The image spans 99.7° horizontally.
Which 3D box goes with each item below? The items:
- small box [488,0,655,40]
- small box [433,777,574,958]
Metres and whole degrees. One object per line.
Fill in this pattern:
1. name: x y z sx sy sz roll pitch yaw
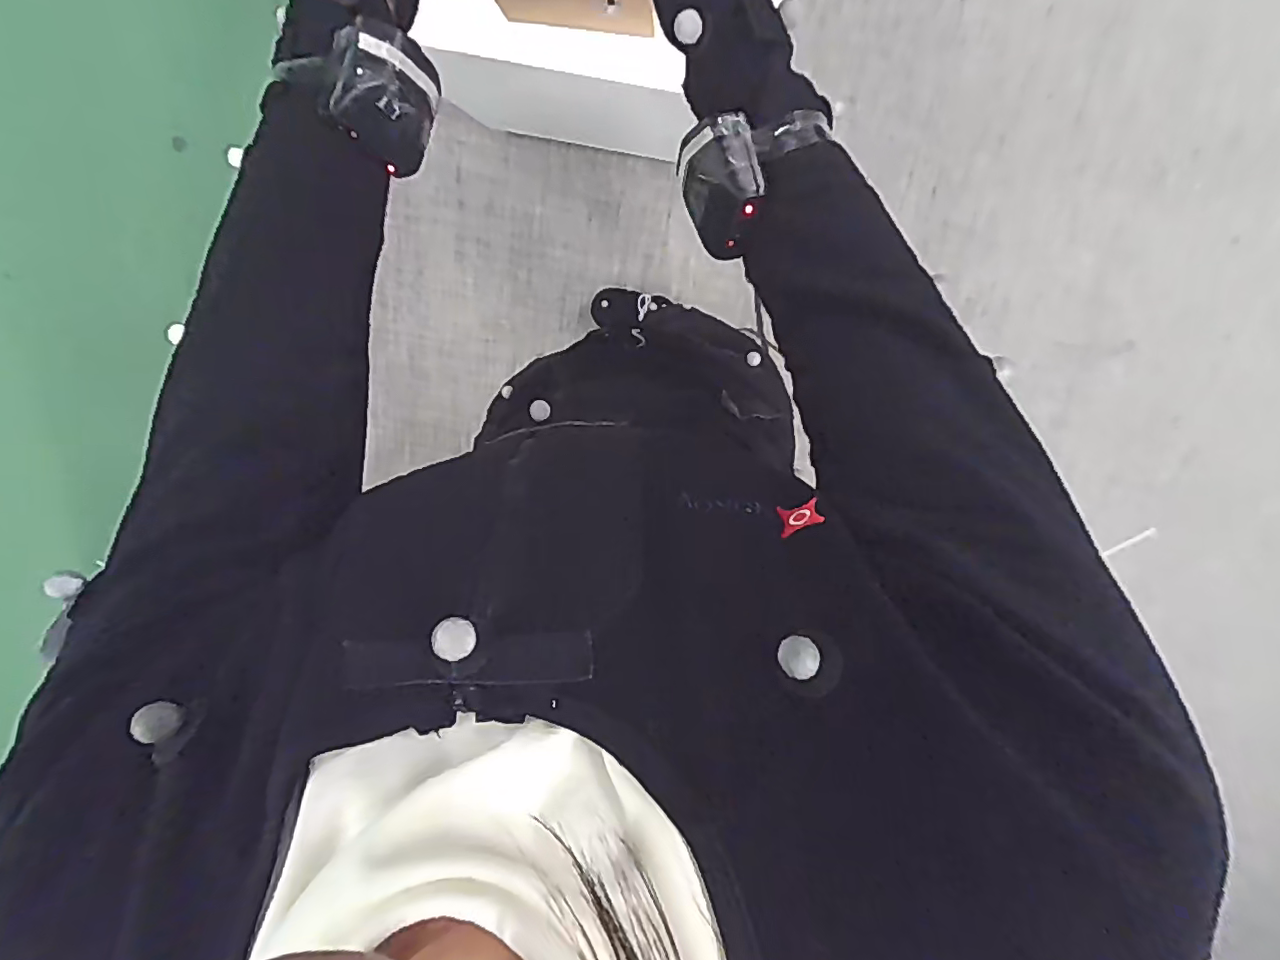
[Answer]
1. small box: -0.066 -0.556 0.518 0.179 0.176 0.168 7 111 2
2. small box: -0.210 0.611 0.866 0.179 0.176 0.168 12 113 -2
